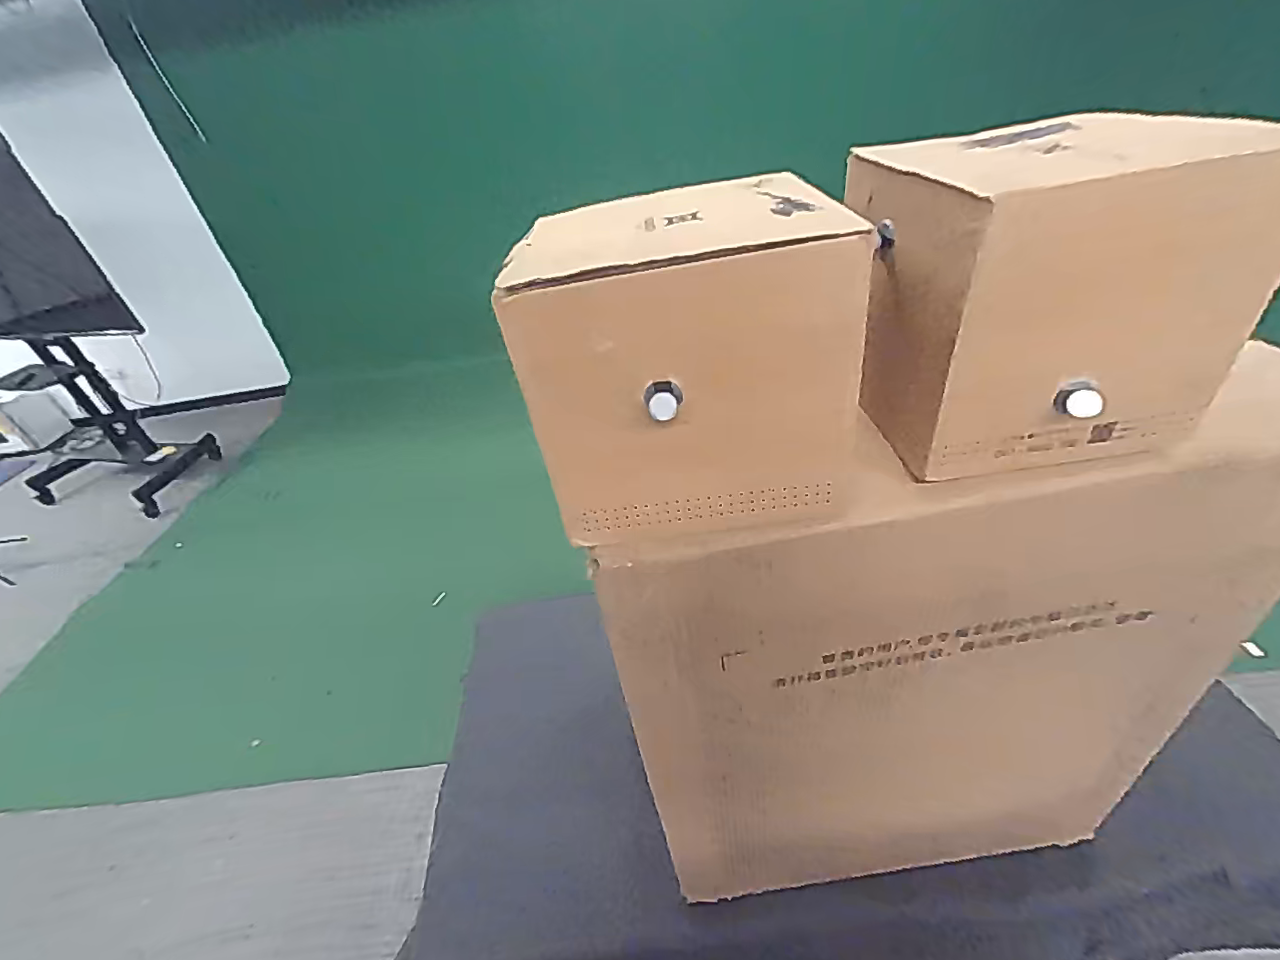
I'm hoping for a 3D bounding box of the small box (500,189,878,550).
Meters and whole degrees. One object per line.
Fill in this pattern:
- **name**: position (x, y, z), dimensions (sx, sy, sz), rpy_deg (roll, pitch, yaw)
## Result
- **small box**: position (0.032, -0.070, 0.352), dimensions (0.179, 0.176, 0.168), rpy_deg (-7, 38, 4)
